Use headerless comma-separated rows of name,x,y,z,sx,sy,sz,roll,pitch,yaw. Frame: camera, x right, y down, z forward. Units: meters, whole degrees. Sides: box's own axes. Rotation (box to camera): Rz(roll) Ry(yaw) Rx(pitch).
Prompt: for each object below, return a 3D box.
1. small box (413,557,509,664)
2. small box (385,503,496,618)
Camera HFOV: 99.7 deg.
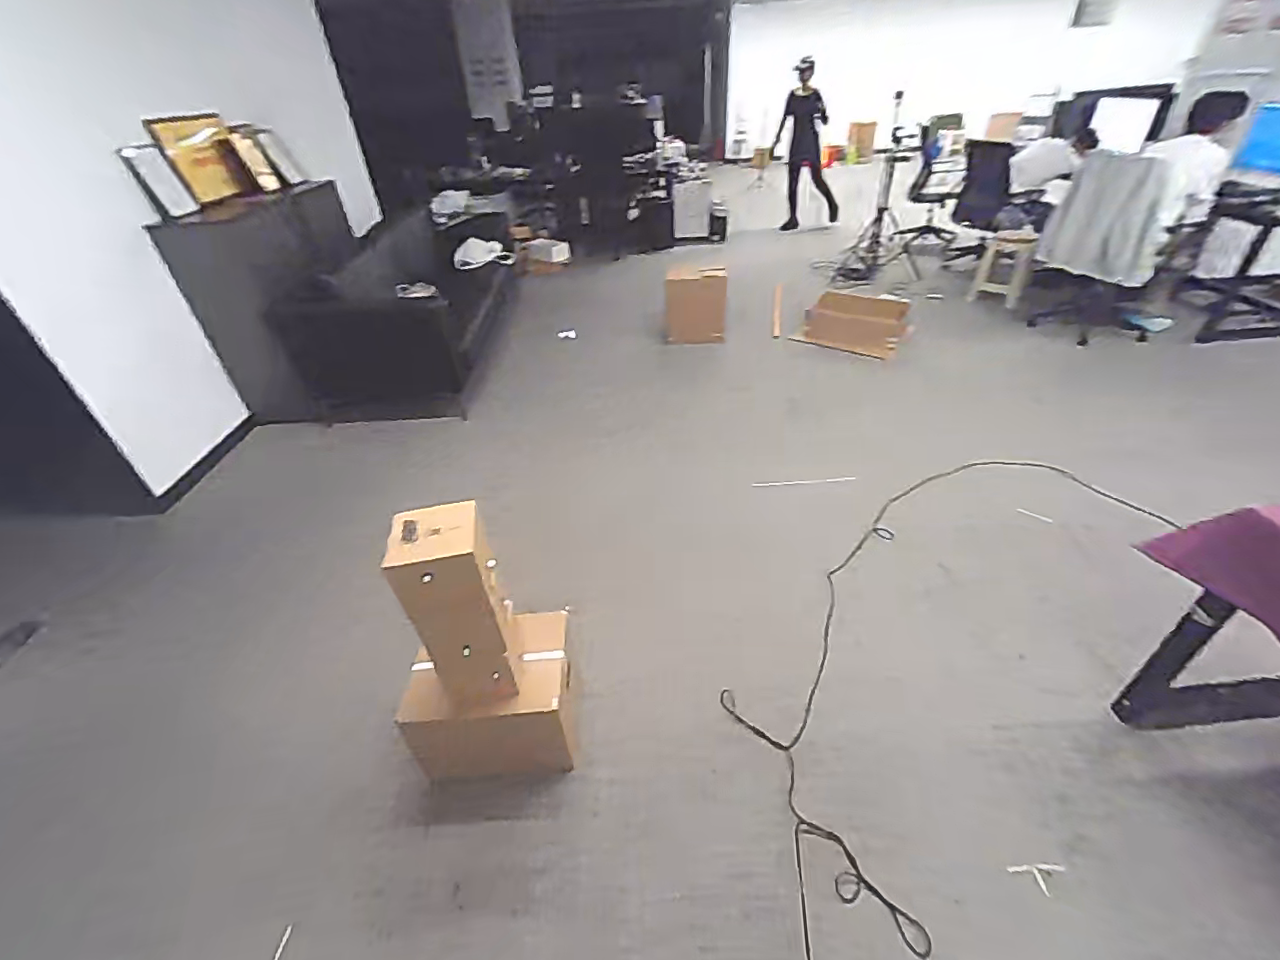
small box,-0.409,0.307,1.272,0.179,0.176,0.168,-9,38,-7
small box,-0.421,0.177,1.170,0.179,0.176,0.168,-9,39,-7
